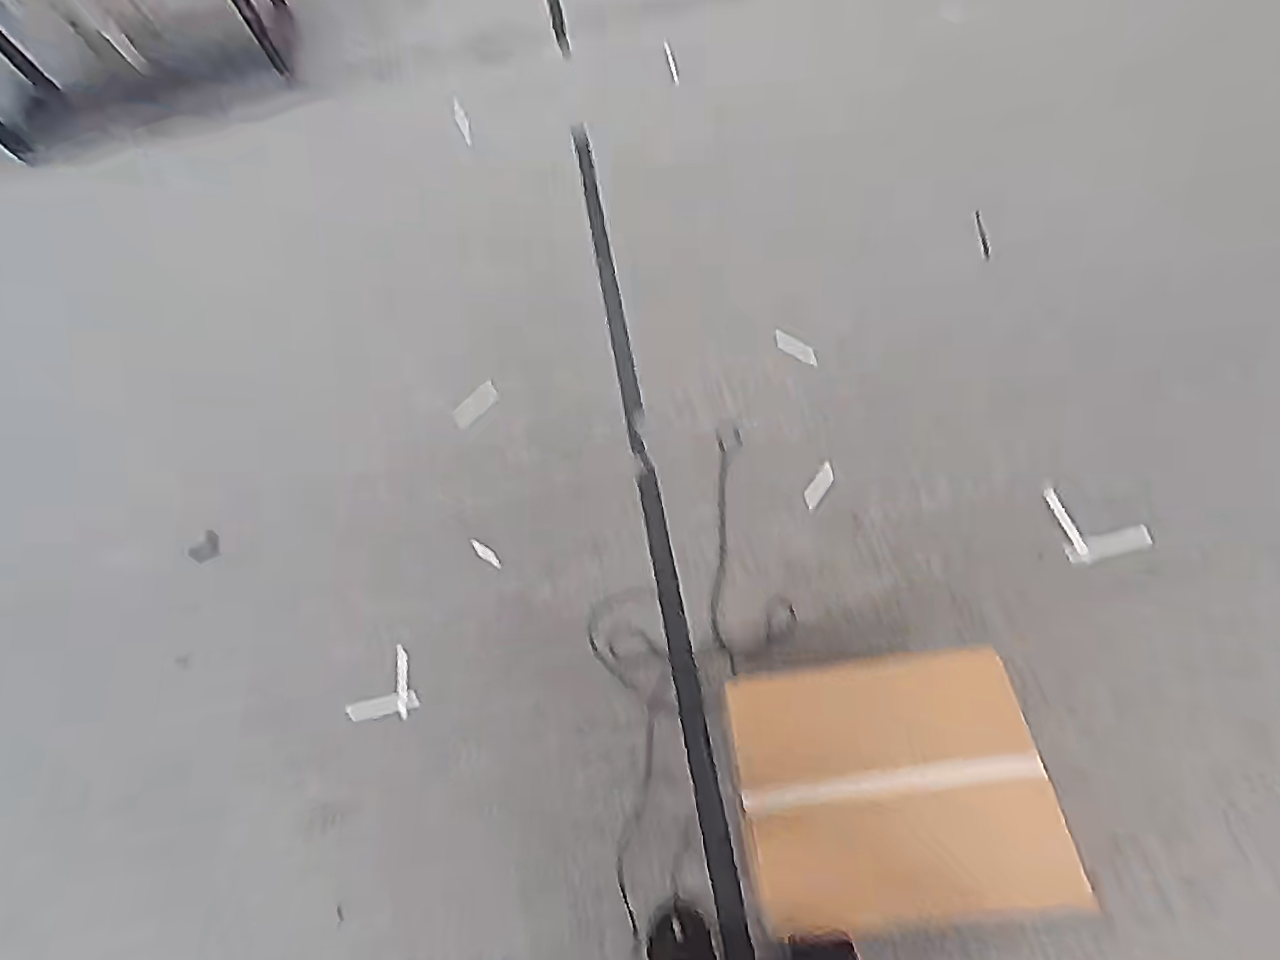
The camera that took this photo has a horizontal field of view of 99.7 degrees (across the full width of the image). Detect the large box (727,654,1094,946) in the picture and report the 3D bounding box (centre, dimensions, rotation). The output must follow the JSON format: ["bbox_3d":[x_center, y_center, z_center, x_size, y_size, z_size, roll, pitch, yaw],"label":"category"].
[{"bbox_3d":[0.371,0.492,0.880,0.408,0.320,0.320,-9,64,3],"label":"large box"}]
